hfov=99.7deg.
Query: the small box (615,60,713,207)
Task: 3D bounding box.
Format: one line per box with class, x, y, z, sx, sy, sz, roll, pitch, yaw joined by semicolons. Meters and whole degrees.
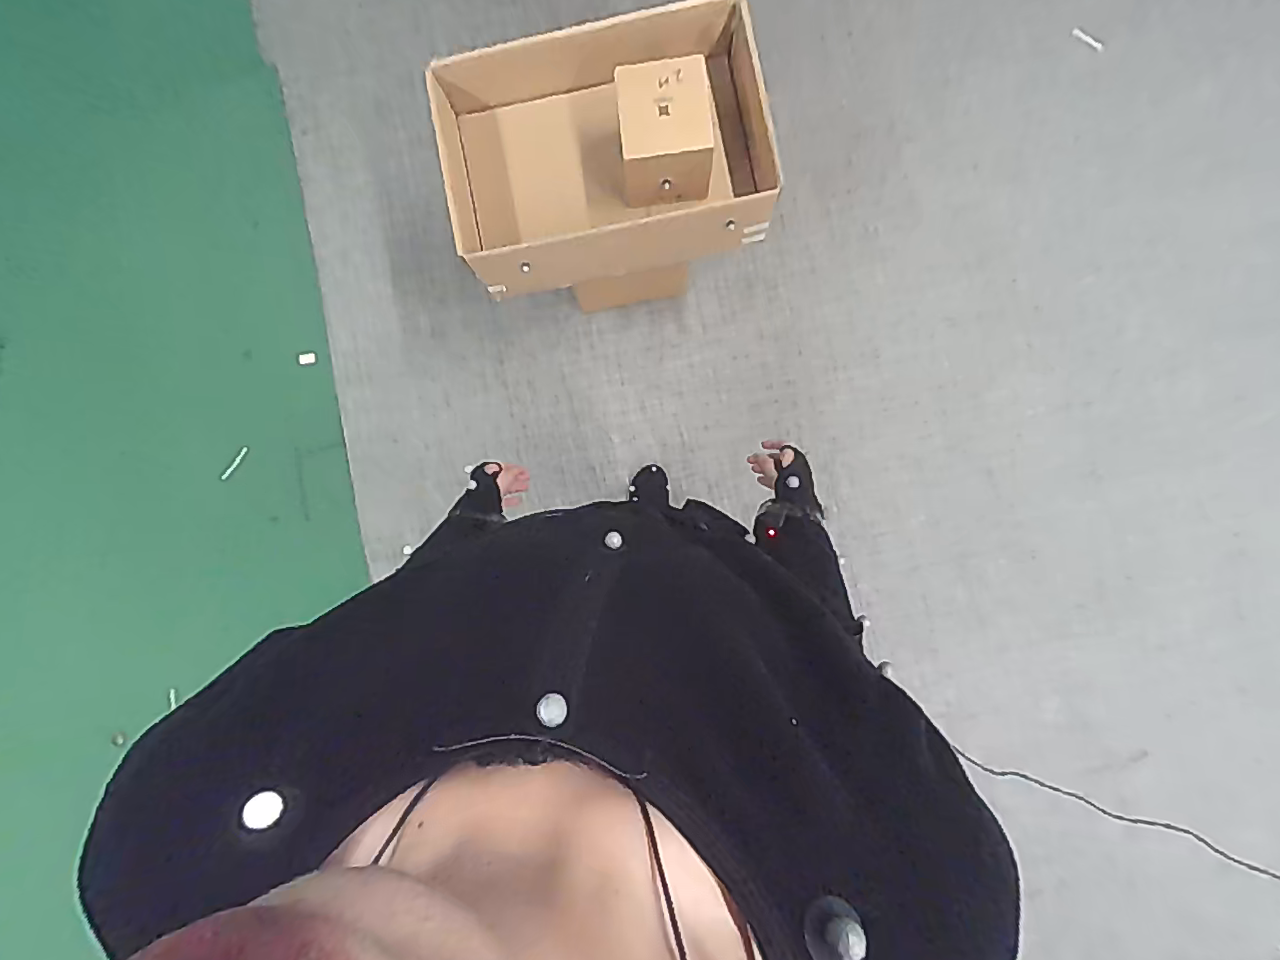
small box;0.049;-0.651;1.041;0.168;0.176;0.179;-6;87;3
